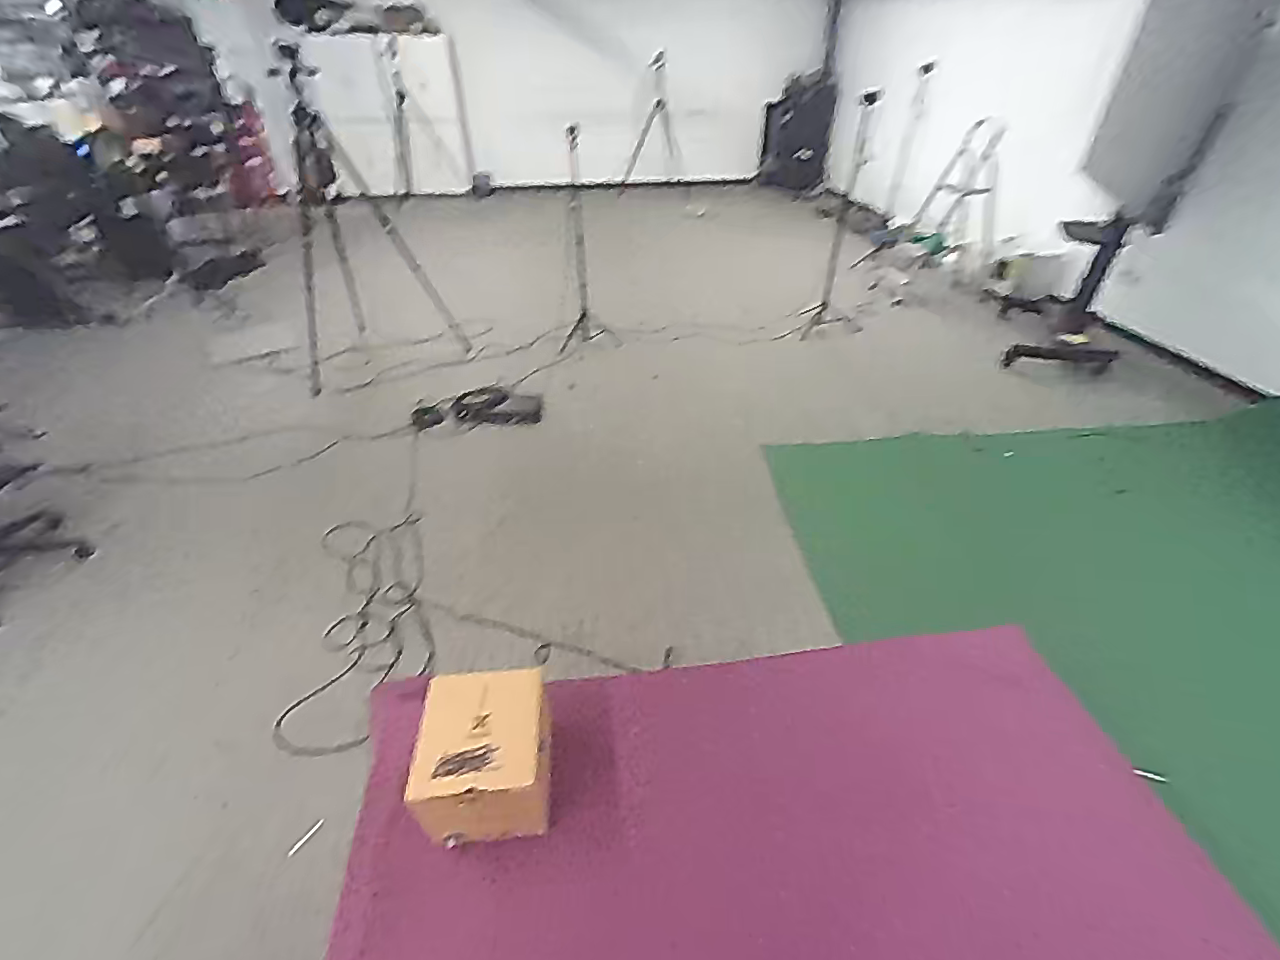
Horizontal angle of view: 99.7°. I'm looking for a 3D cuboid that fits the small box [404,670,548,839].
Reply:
[{"bbox_3d":[-0.229,0.412,0.806,0.168,0.176,0.179,-3,40,-5],"label":"small box"}]
